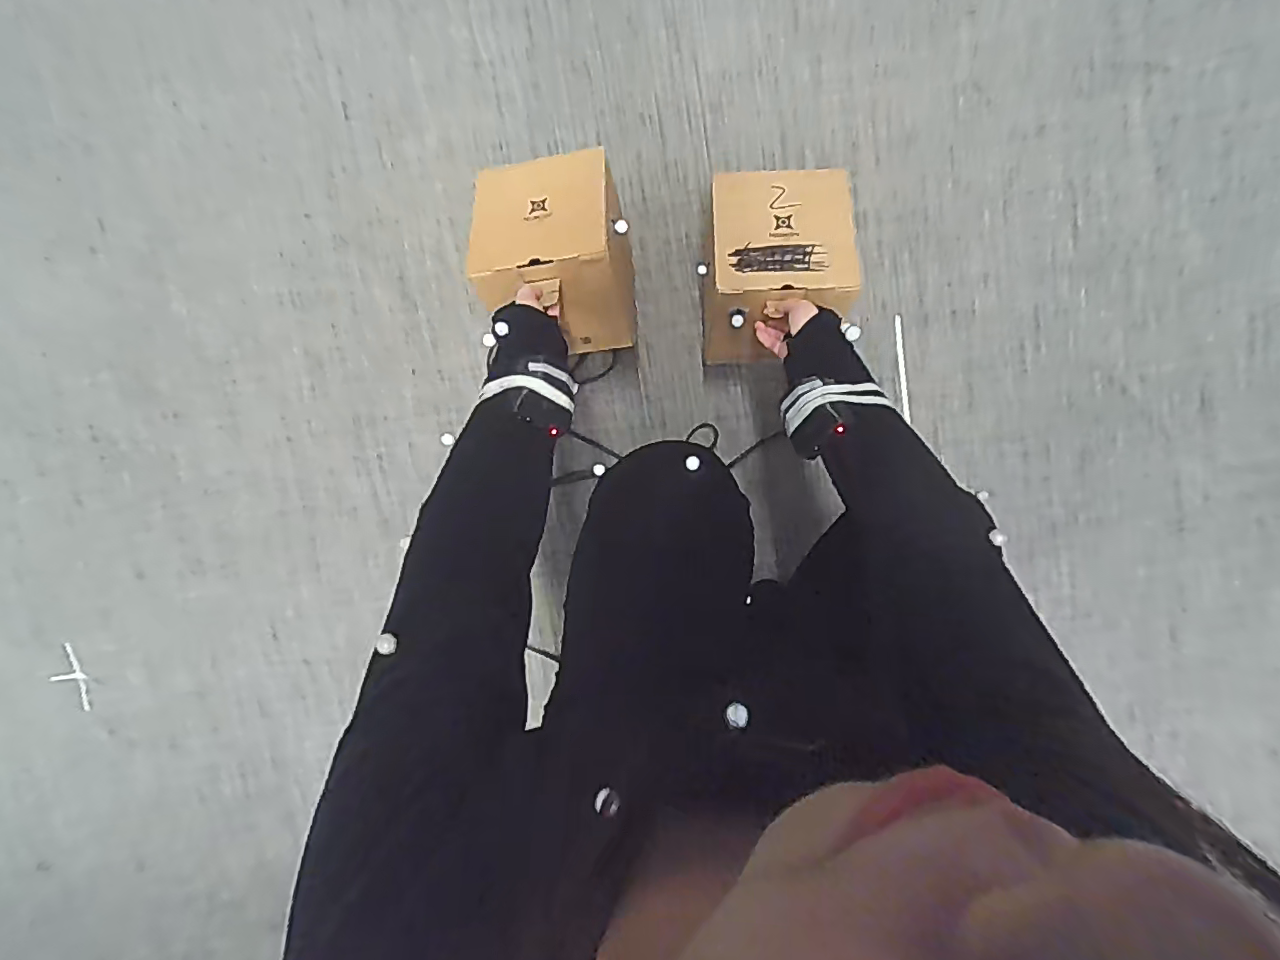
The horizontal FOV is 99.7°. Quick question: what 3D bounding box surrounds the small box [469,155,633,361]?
[{"bbox_3d":[-0.105,-0.285,0.718,0.168,0.176,0.179,-6,67,9],"label":"small box"}]
